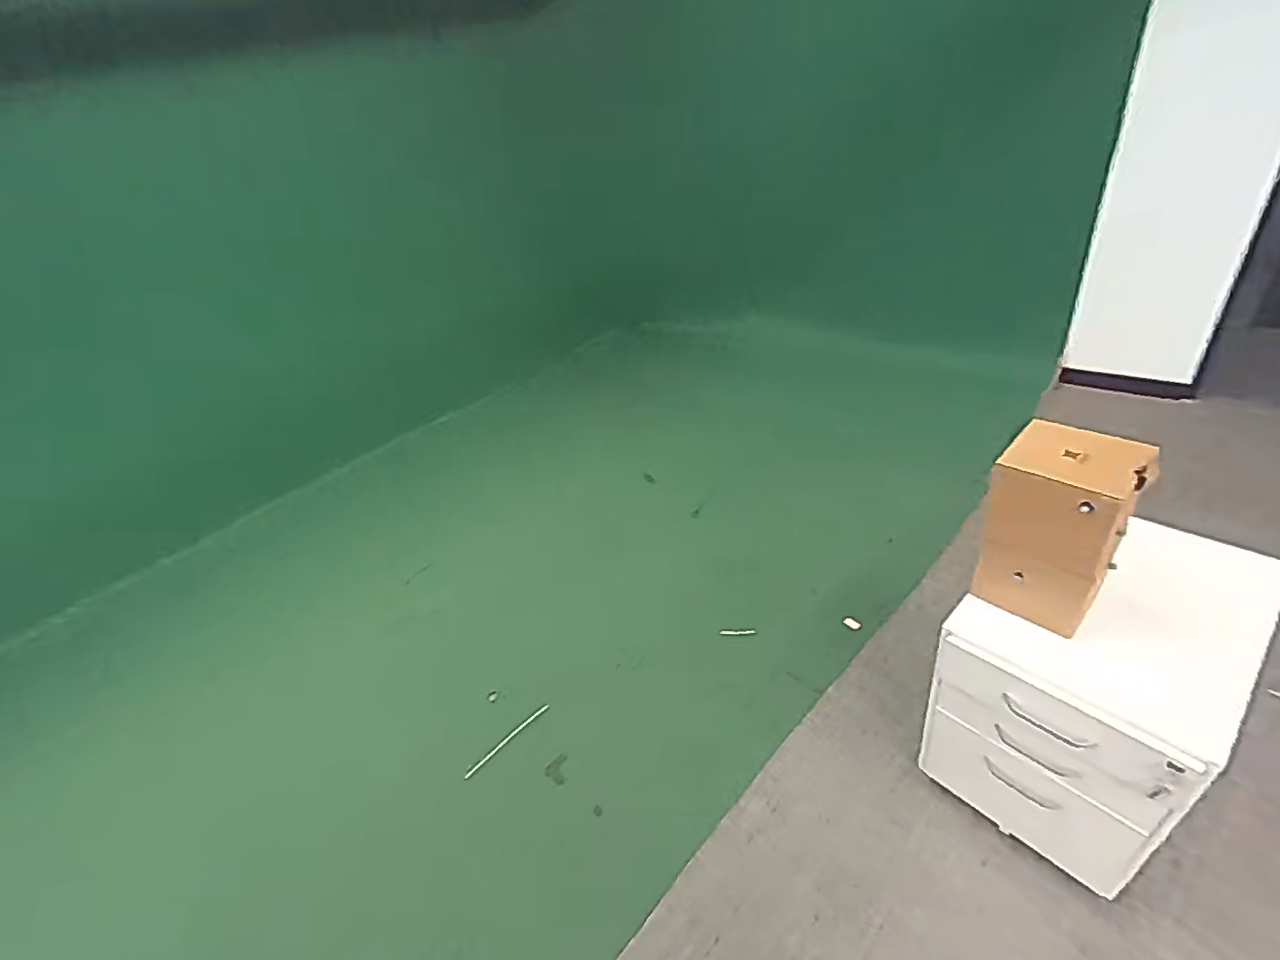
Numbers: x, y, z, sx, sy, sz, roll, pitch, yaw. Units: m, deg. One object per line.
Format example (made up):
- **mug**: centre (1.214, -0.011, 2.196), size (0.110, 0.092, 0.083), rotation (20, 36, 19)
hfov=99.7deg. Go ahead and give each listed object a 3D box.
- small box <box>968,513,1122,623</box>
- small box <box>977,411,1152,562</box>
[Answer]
- **small box**: centre (0.752, 0.136, 1.022), size (0.168, 0.176, 0.179), rotation (-36, 41, -26)
- **small box**: centre (0.713, 0.010, 0.926), size (0.168, 0.176, 0.179), rotation (-35, 42, -27)
